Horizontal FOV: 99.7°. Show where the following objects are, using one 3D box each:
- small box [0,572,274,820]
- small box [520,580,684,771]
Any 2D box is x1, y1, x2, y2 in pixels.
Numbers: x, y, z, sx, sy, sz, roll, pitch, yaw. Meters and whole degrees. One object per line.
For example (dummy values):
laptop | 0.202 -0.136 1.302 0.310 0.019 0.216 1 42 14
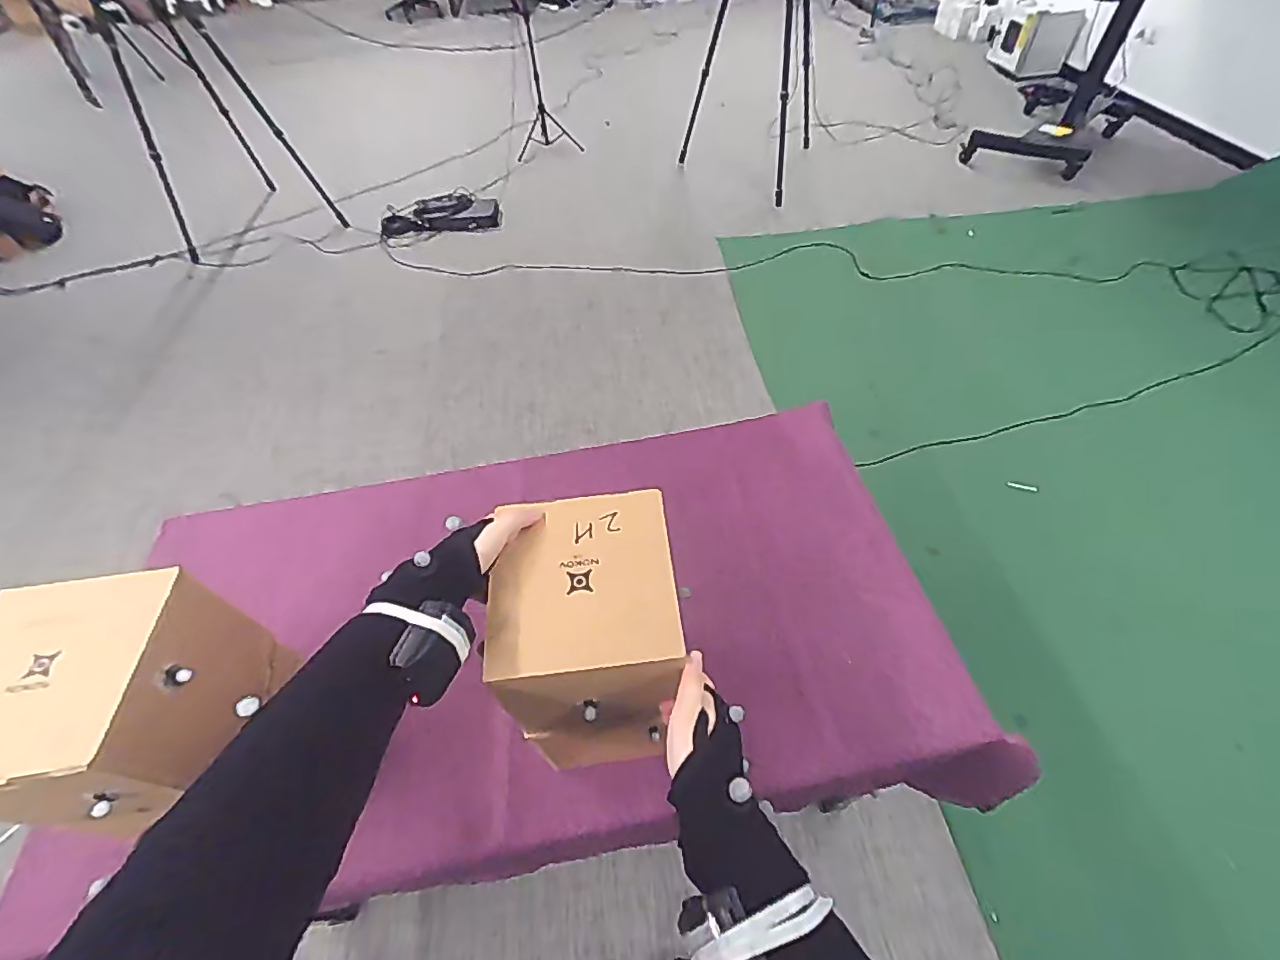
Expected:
small box | -0.496 0.212 0.518 0.168 0.176 0.179 -7 51 -2
small box | -0.043 0.246 0.671 0.179 0.176 0.168 -7 51 -2
